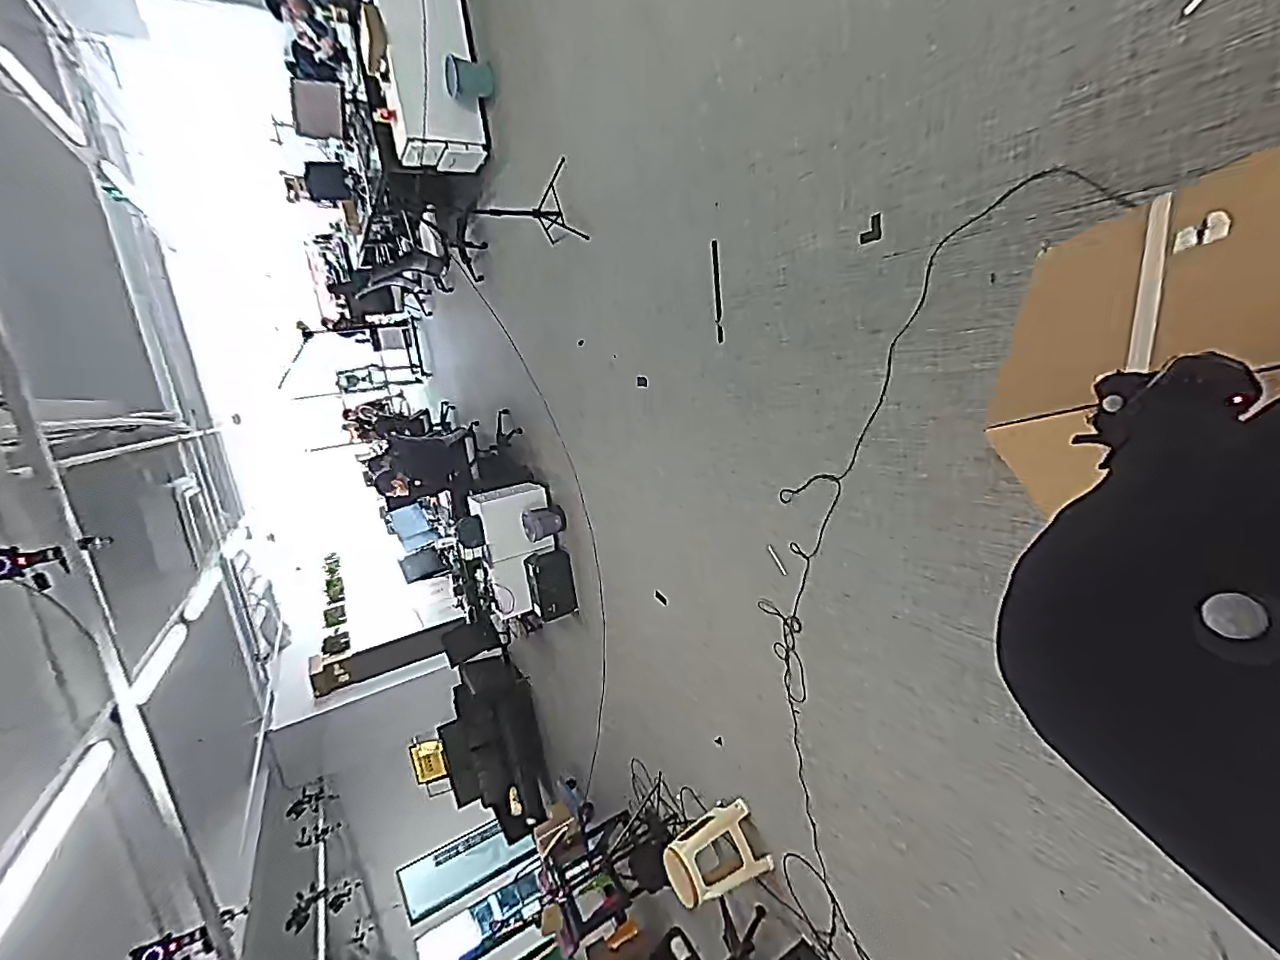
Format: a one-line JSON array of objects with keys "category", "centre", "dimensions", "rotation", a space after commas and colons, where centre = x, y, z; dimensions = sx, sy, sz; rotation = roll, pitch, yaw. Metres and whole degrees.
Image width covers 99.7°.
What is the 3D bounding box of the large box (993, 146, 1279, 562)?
[{"category": "large box", "centre": [0.737, -0.144, 0.709], "dimensions": [0.320, 0.408, 0.320], "rotation": [43, 153, -19]}]
